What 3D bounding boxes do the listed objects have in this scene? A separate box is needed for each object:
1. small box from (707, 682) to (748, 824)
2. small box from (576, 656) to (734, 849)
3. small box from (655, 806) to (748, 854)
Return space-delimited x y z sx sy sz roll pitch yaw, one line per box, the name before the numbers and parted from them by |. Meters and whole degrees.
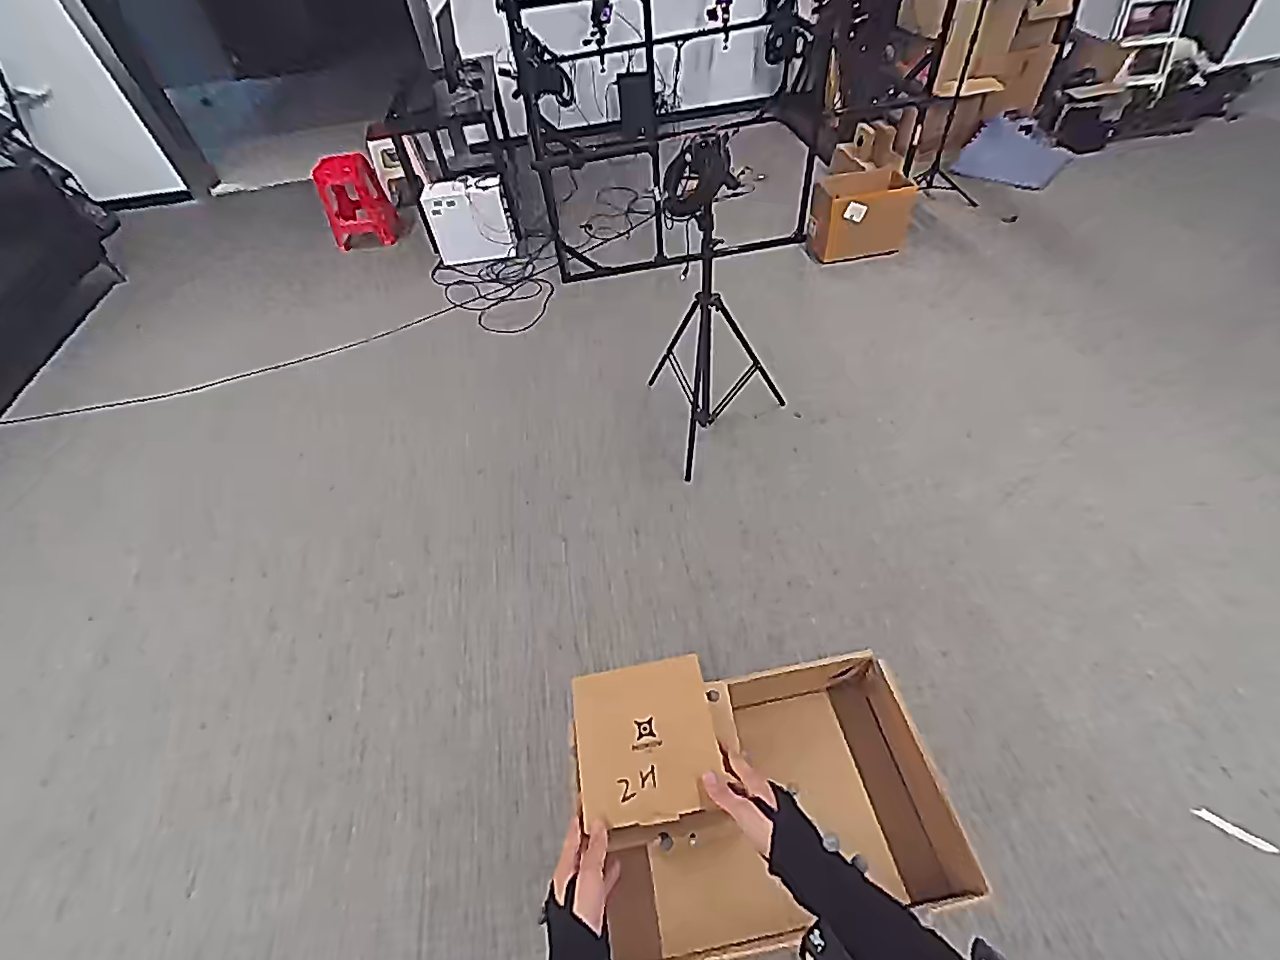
small box | 0.071 0.447 0.865 0.168 0.176 0.179 -7 49 -1
small box | 0.017 0.355 0.700 0.168 0.176 0.179 -11 52 -1
small box | 0.087 0.555 0.990 0.168 0.176 0.179 -12 49 -5
